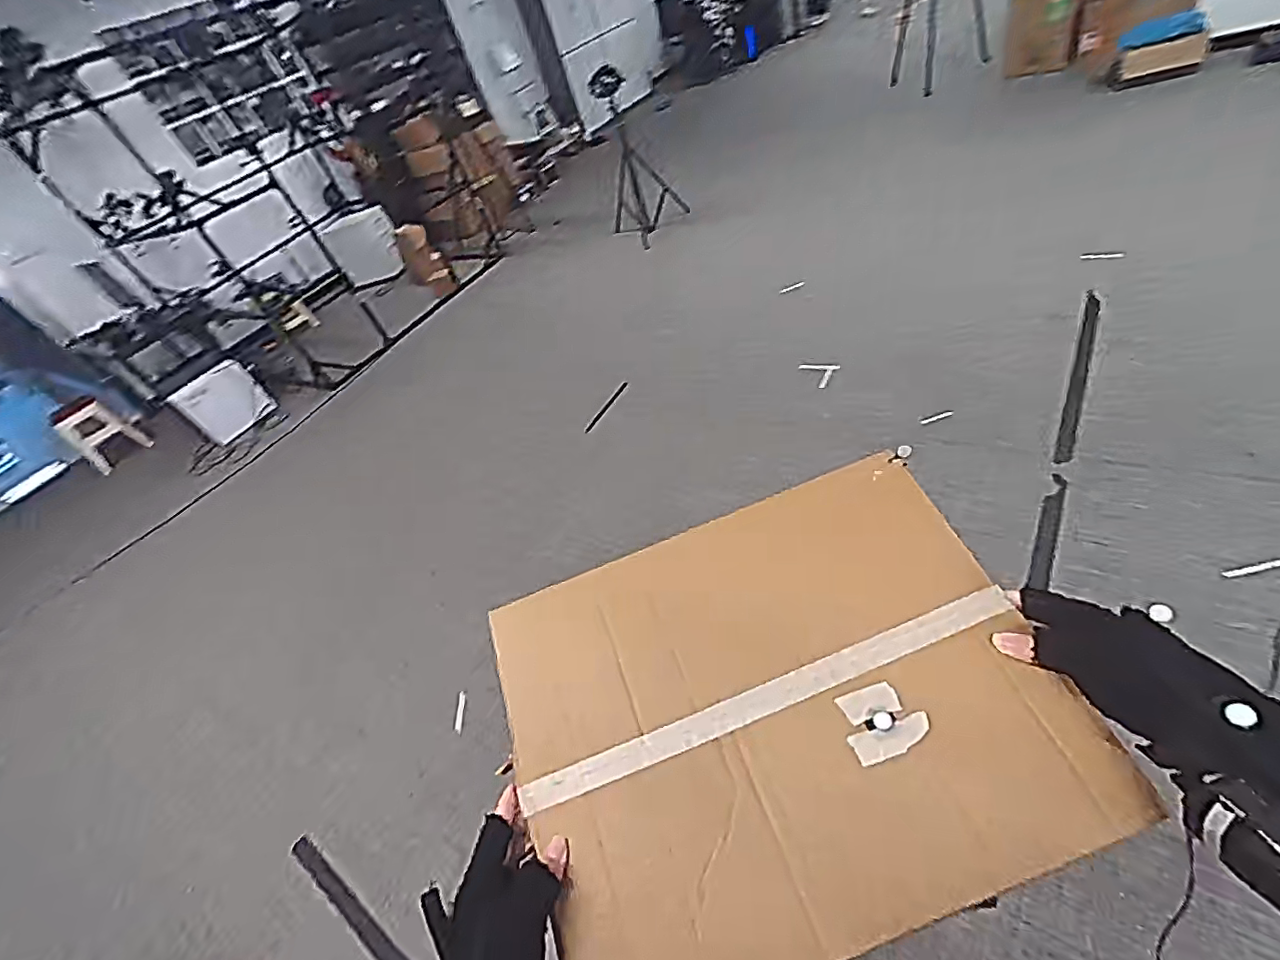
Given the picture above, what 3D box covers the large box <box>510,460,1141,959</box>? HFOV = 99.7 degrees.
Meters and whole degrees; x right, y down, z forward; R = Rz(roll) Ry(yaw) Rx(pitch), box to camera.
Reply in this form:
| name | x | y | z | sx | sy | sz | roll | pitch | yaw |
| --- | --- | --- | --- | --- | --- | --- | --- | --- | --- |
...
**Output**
| name | x | y | z | sx | sy | sz | roll | pitch | yaw |
| --- | --- | --- | --- | --- | --- | --- | --- | --- | --- |
| large box | 0.134 | 0.248 | 0.562 | 0.408 | 0.320 | 0.320 | -22 | 59 | -2 |
